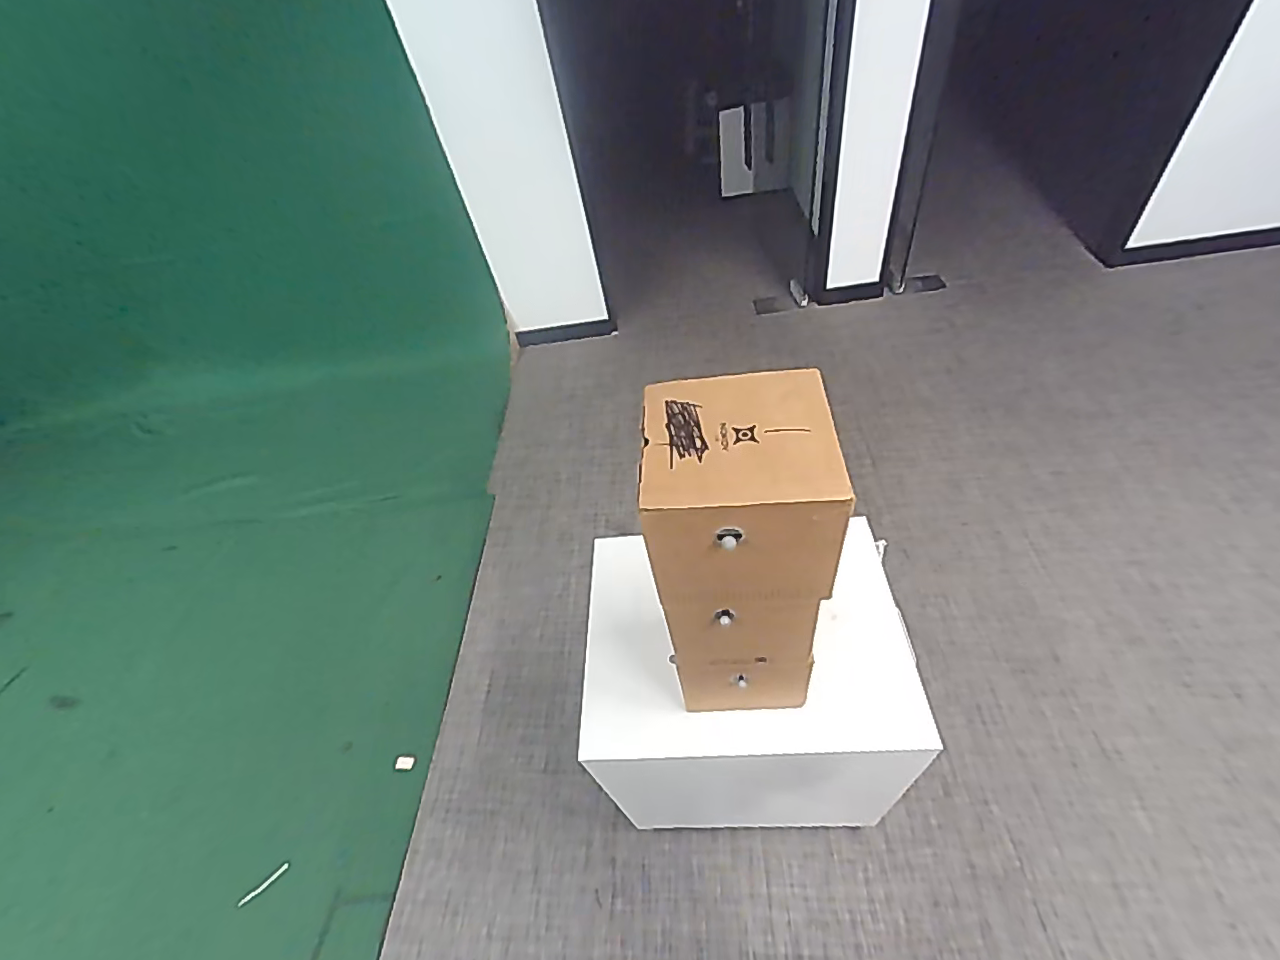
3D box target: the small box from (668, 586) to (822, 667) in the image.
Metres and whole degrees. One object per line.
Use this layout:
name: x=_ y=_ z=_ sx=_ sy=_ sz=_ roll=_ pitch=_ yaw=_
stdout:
small box: x=0.120 y=0.118 z=0.686 sx=0.168 sy=0.176 sz=0.179 roll=-6 pitch=49 yaw=6

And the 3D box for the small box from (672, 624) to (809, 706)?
small box: x=0.143 y=0.226 z=0.804 sx=0.179 sy=0.176 sz=0.168 roll=-5 pitch=49 yaw=7

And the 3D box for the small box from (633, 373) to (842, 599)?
small box: x=0.097 y=0.012 z=0.559 sx=0.179 sy=0.176 sz=0.168 roll=-3 pitch=49 yaw=8
